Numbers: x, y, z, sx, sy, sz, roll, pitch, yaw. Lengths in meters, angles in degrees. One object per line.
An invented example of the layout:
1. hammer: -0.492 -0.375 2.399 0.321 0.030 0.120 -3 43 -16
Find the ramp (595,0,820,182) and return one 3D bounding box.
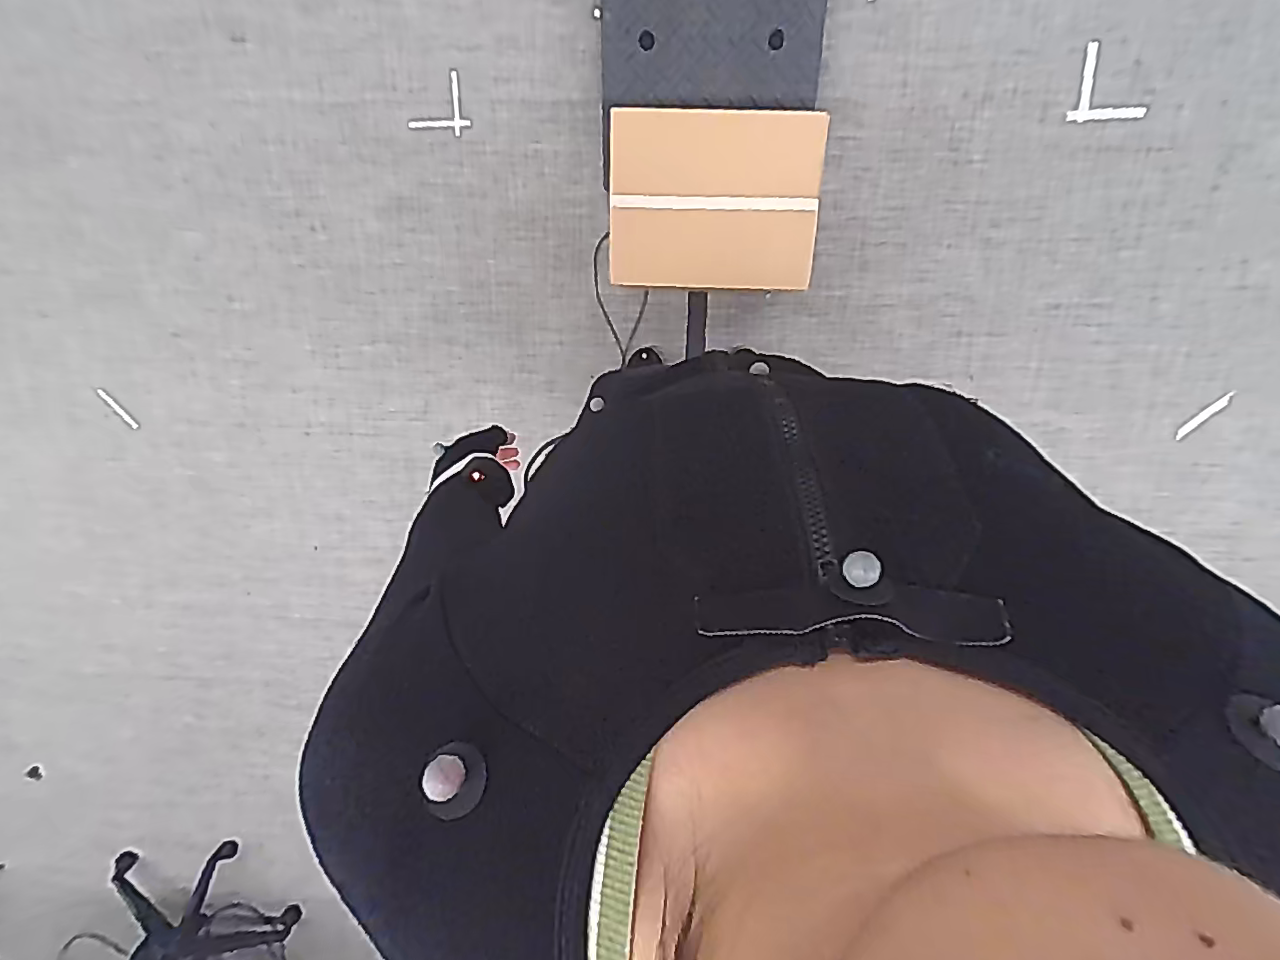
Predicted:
1. ramp: 0.148 -1.176 1.112 0.509 0.206 0.991 -1 105 1

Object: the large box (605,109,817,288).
1. large box: 0.136 -0.592 1.195 0.408 0.320 0.320 2 108 1
